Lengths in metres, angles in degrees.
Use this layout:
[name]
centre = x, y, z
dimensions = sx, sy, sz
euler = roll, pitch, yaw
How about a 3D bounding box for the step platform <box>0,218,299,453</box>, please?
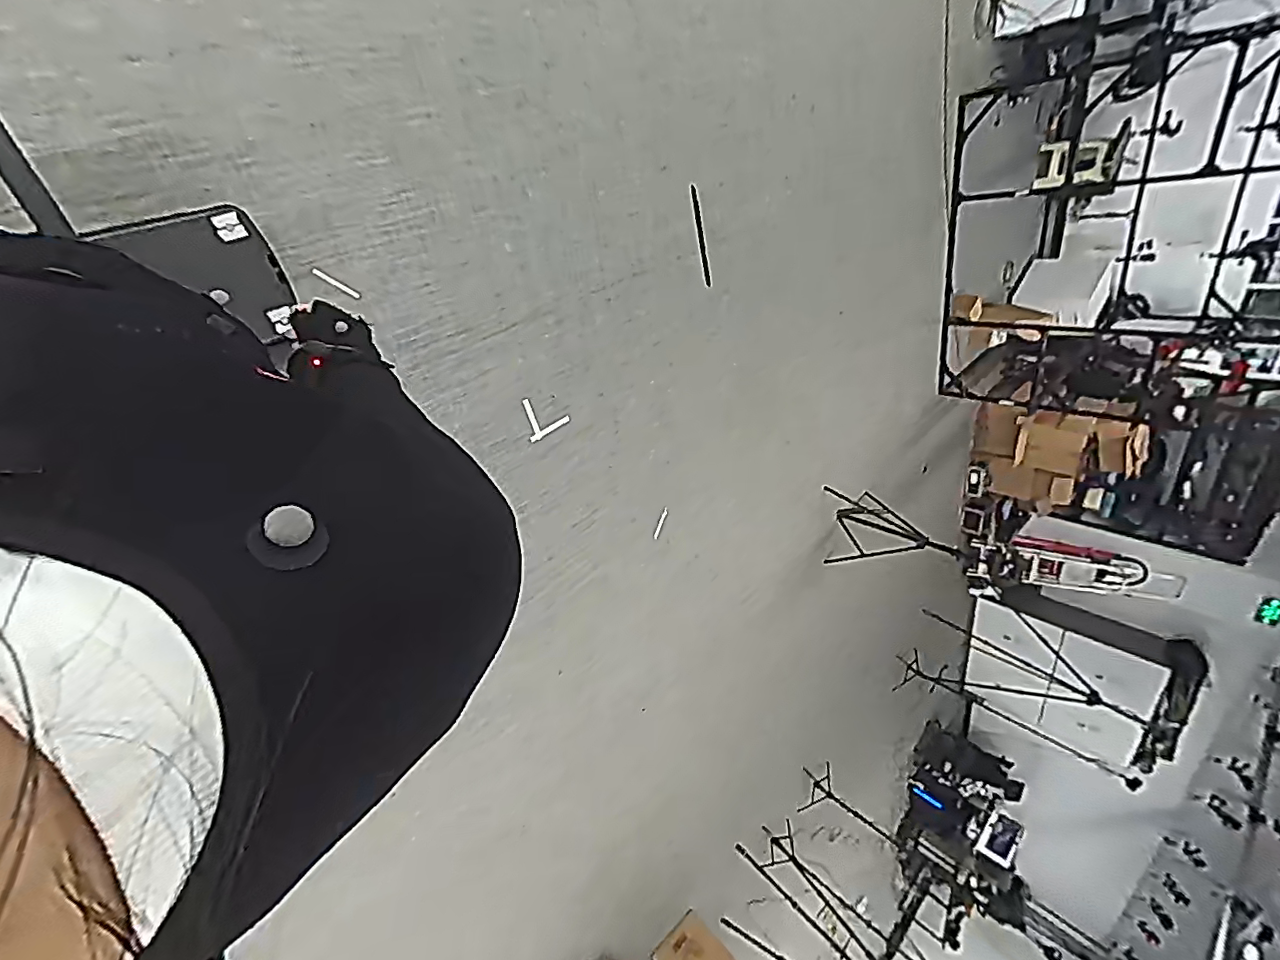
[step platform]
centre = -1.091, -0.296, 1.084
dimensions = 0.684, 0.204, 0.286
euler = -36, 127, -30
